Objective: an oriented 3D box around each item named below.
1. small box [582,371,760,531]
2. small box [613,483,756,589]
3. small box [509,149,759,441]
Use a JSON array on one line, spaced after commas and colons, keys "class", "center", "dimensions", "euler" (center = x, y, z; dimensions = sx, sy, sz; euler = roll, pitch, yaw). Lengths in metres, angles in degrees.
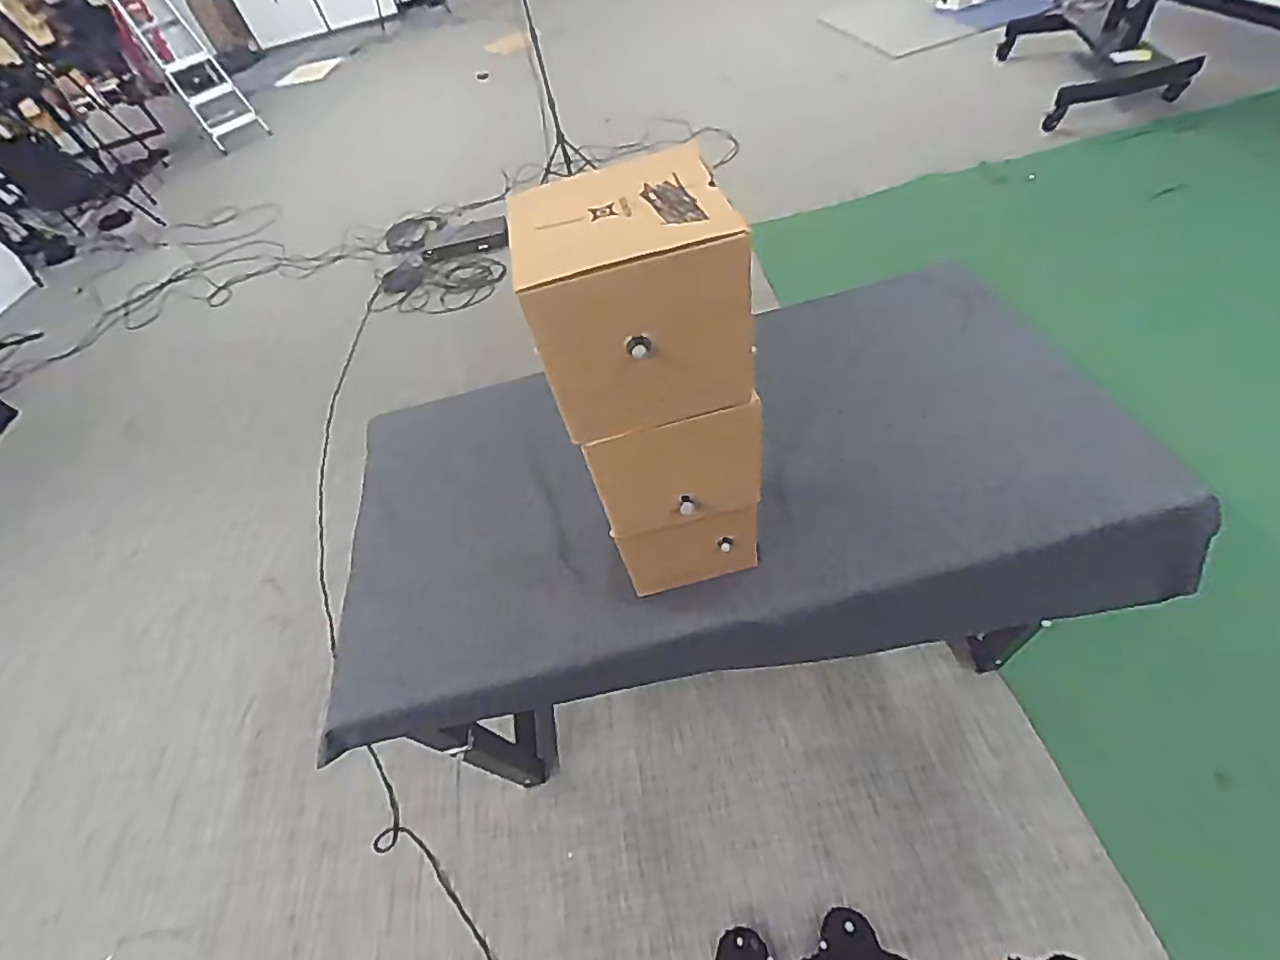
[{"class": "small box", "center": [0.028, -0.065, 0.623], "dimensions": [0.179, 0.176, 0.168], "euler": [-14, 51, 1]}, {"class": "small box", "center": [0.053, 0.029, 0.754], "dimensions": [0.179, 0.176, 0.168], "euler": [-16, 51, 2]}, {"class": "small box", "center": [-0.004, -0.163, 0.494], "dimensions": [0.179, 0.176, 0.168], "euler": [-16, 52, -2]}]
